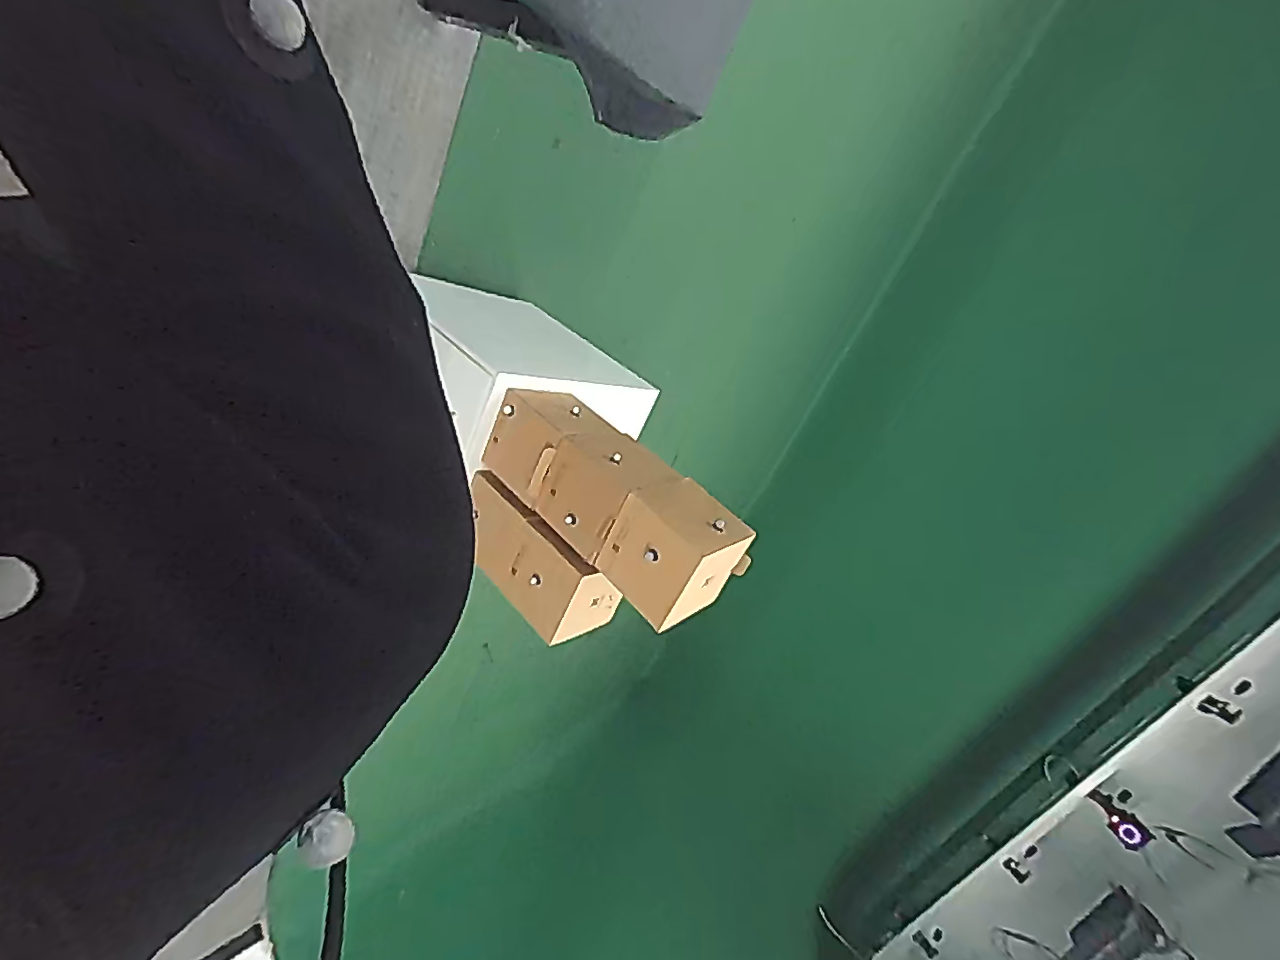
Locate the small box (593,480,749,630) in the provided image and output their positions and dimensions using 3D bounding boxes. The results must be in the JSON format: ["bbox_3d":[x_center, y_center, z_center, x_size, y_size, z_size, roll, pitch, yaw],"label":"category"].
[{"bbox_3d":[0.049,0.118,0.927,0.179,0.176,0.168,-12,135,-52],"label":"small box"}]

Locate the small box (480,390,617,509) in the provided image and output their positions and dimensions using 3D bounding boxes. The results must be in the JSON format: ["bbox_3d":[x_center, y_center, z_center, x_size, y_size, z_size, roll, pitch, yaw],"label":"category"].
[{"bbox_3d":[-0.183,-0.065,1.064,0.179,0.176,0.168,-8,131,-54],"label":"small box"}]
